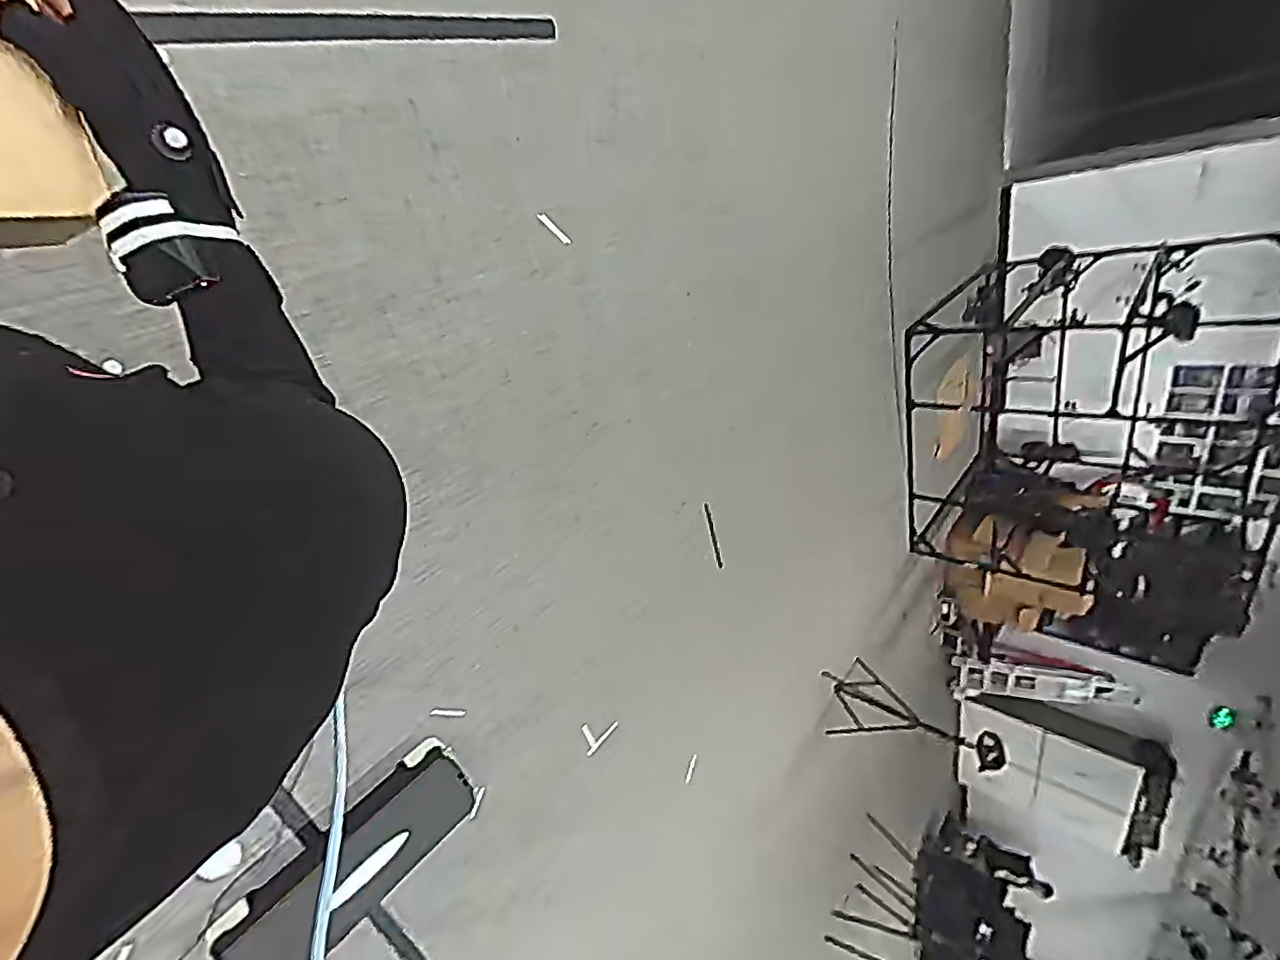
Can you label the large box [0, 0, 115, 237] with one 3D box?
[{"bbox_3d":[-0.640,-0.301,0.292,0.408,0.320,0.320,-30,125,-45],"label":"large box"}]
